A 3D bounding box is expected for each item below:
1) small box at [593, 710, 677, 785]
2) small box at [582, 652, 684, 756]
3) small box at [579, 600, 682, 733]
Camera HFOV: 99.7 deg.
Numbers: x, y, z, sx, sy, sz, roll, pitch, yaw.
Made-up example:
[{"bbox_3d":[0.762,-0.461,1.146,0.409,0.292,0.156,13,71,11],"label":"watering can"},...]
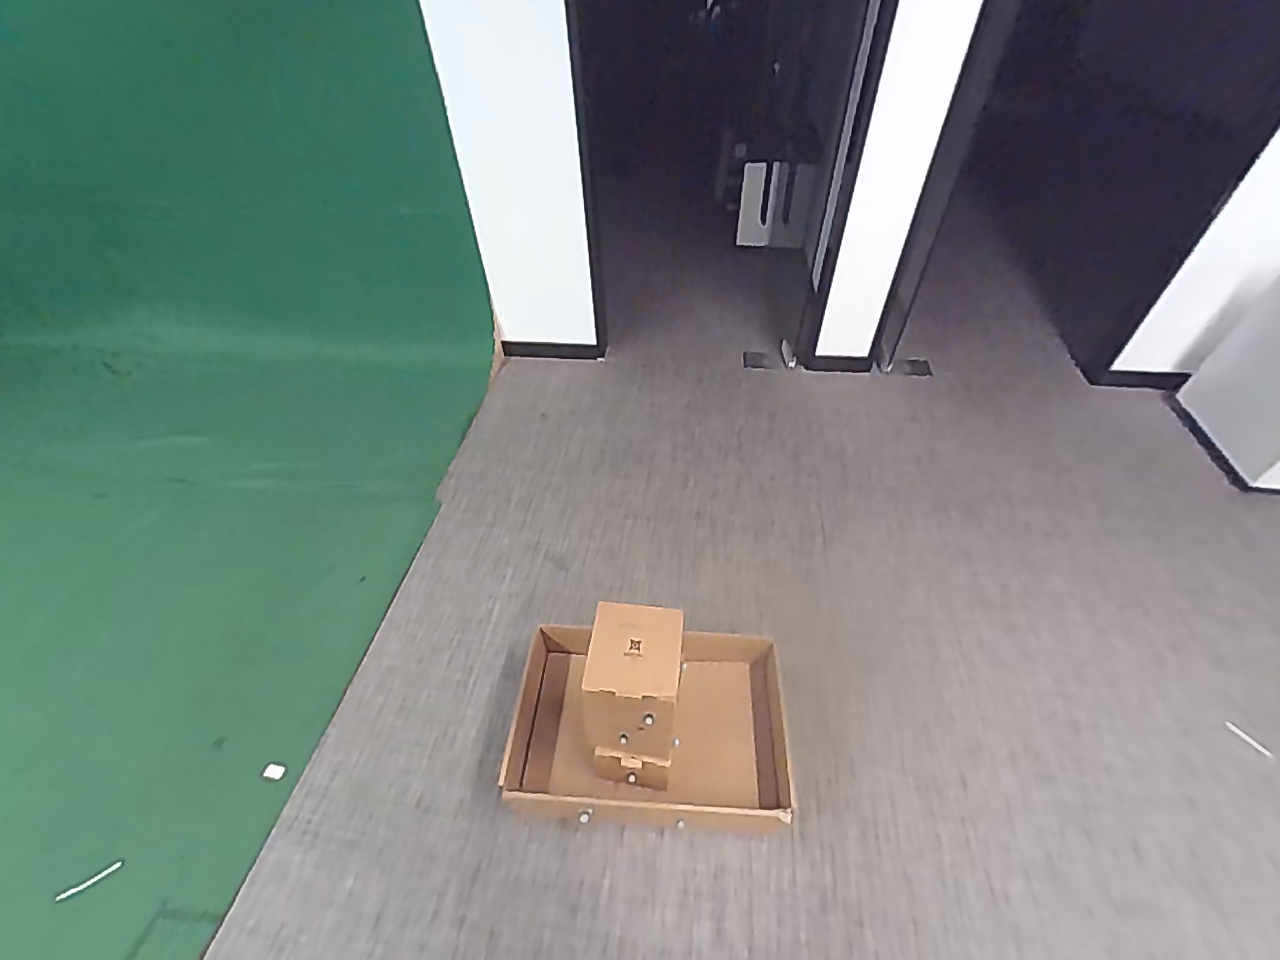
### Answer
[{"bbox_3d":[-0.005,0.583,1.254,0.168,0.176,0.179,7,47,7],"label":"small box"},{"bbox_3d":[-0.009,0.461,1.143,0.179,0.176,0.168,8,46,10],"label":"small box"},{"bbox_3d":[-0.012,0.355,1.021,0.168,0.176,0.179,6,44,4],"label":"small box"}]
